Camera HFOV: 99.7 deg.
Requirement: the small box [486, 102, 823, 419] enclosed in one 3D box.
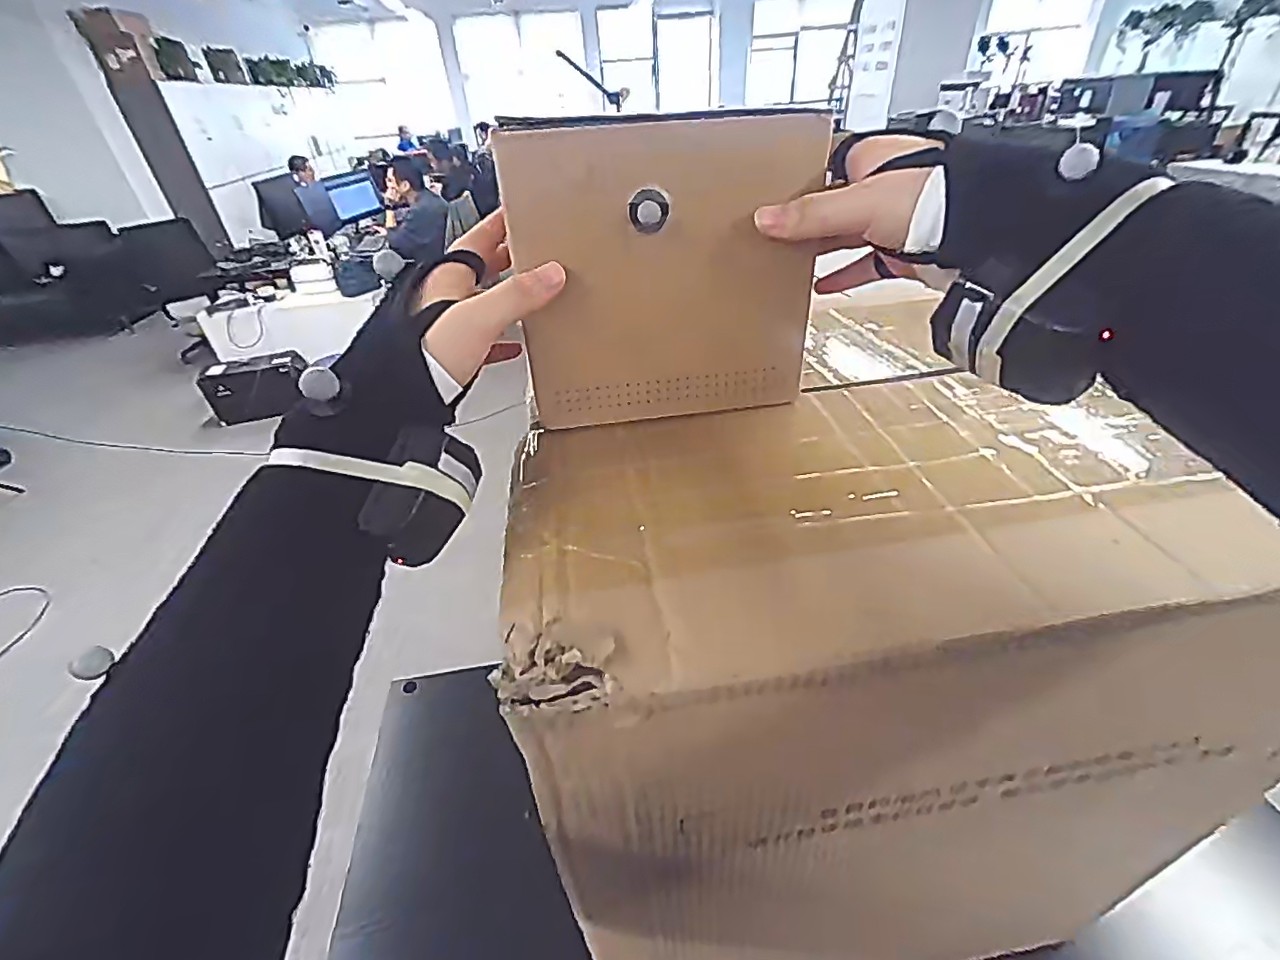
[{"bbox_3d":[0.004,-0.152,0.377,0.179,0.176,0.168,-7,34,-6],"label":"small box"}]
